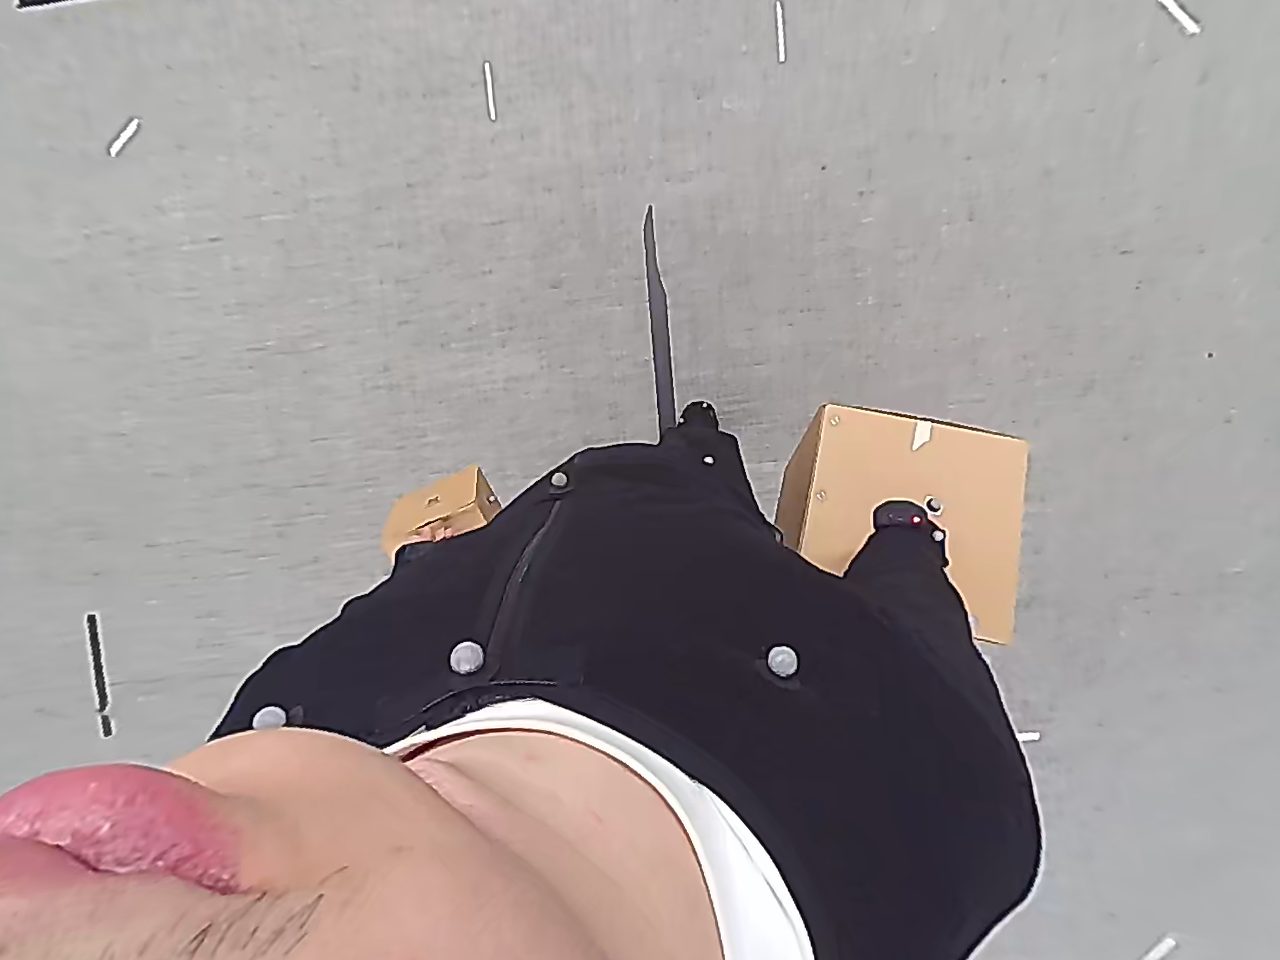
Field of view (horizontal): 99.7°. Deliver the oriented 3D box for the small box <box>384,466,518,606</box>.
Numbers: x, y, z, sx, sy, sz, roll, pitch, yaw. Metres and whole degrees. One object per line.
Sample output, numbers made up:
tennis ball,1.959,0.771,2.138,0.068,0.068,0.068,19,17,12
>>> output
small box,-0.333,0.106,0.986,0.168,0.179,0.176,-24,116,-4
